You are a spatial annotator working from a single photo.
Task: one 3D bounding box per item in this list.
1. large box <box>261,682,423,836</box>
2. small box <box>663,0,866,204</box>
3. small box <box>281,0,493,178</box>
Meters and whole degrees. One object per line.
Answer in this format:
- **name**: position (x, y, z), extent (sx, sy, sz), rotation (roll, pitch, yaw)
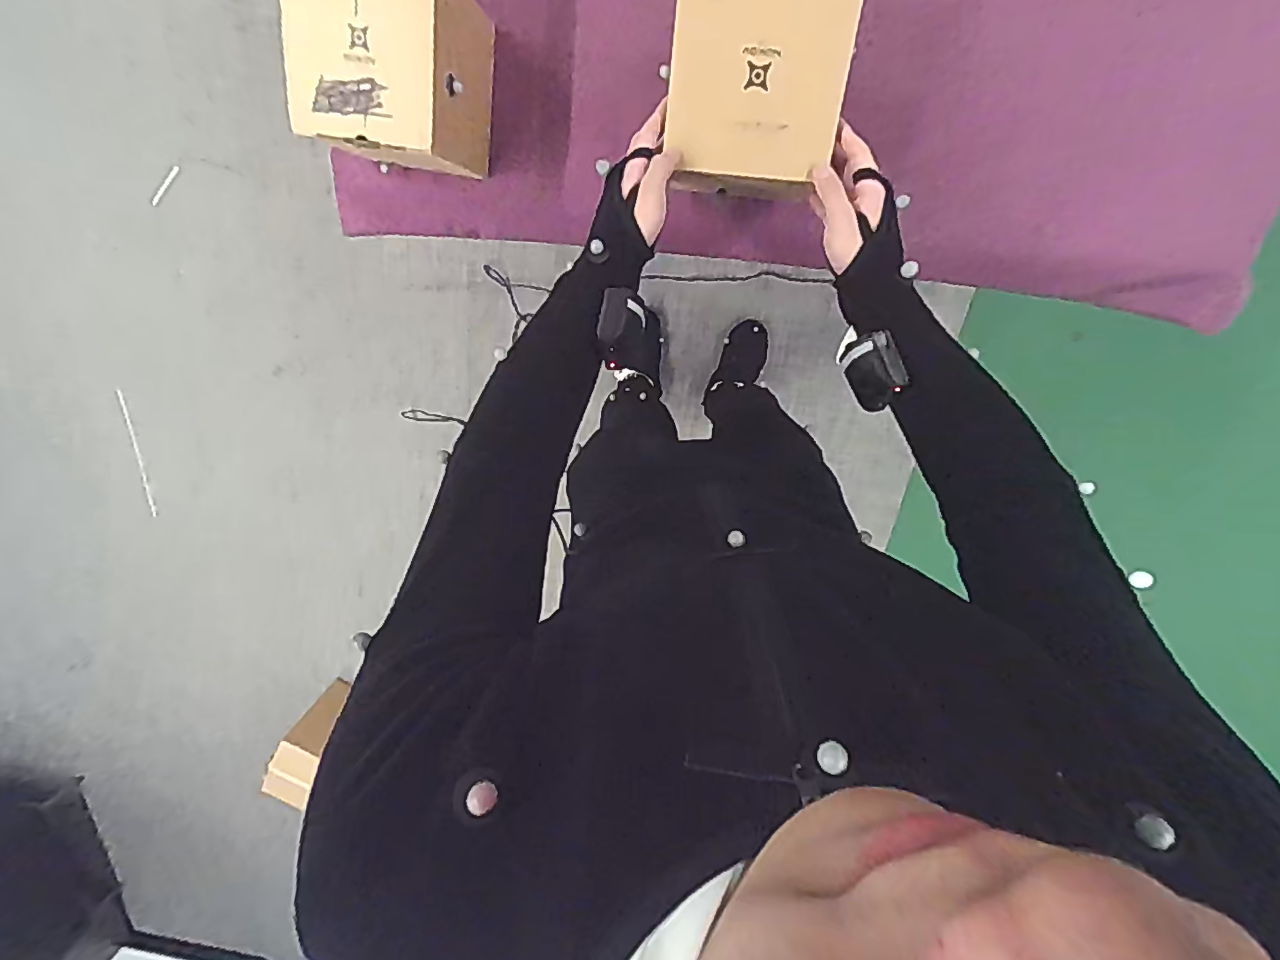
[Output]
- **large box**: position (-1.129, 1.059, 2.075), extent (0.408, 0.320, 0.320), rotation (30, 113, -7)
- **small box**: position (0.120, -0.408, 0.577), extent (0.168, 0.176, 0.179), rotation (8, 113, 3)
- **small box**: position (-0.282, -0.472, 0.635), extent (0.168, 0.176, 0.179), rotation (10, 111, 2)
